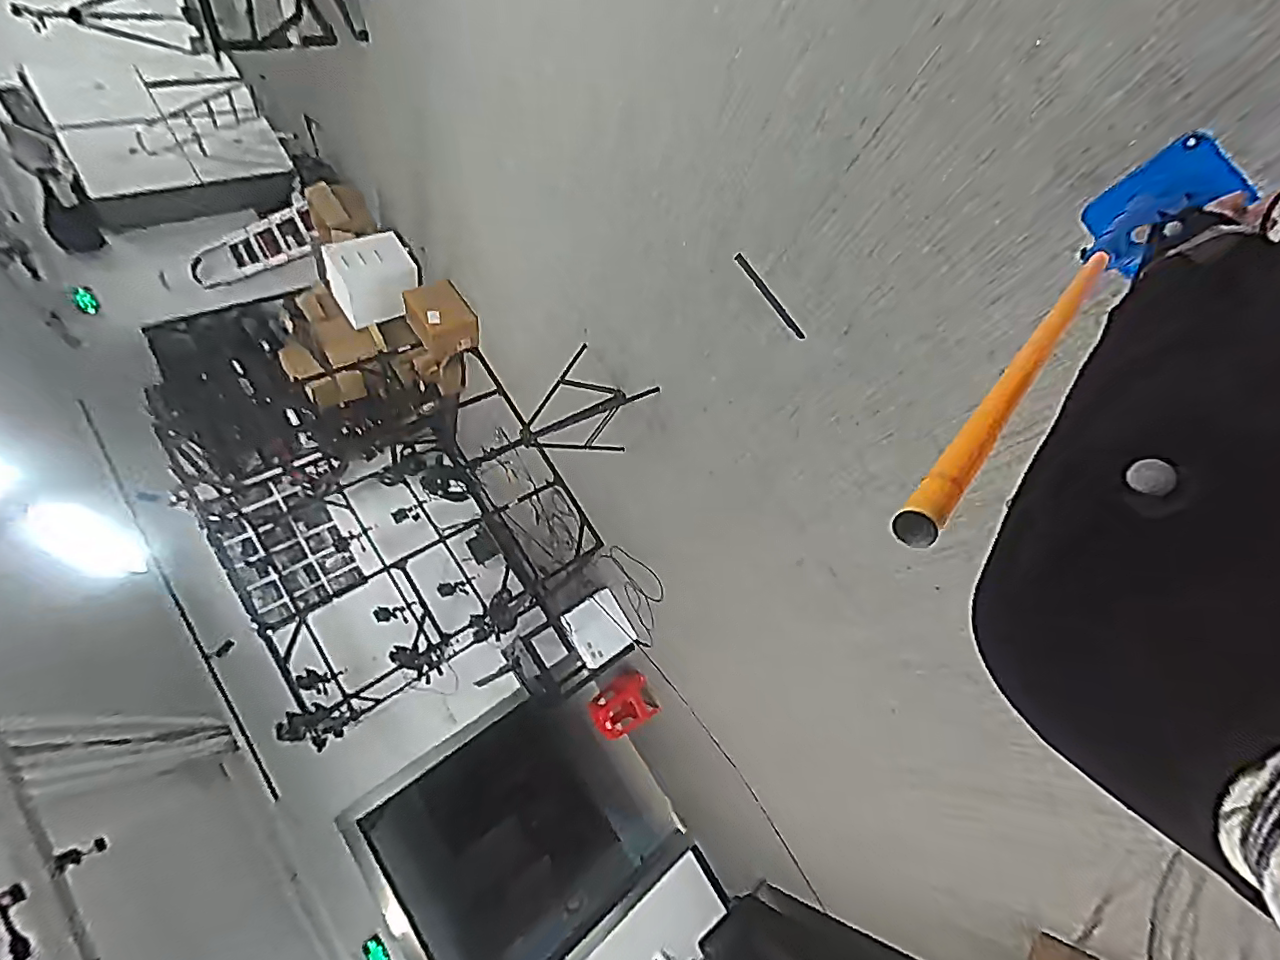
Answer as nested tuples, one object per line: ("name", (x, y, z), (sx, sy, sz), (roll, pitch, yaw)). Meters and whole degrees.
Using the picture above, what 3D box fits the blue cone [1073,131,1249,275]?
("blue cone", (0.835, -0.431, 0.921), (0.192, 0.380, 0.193), (59, 152, 5))
